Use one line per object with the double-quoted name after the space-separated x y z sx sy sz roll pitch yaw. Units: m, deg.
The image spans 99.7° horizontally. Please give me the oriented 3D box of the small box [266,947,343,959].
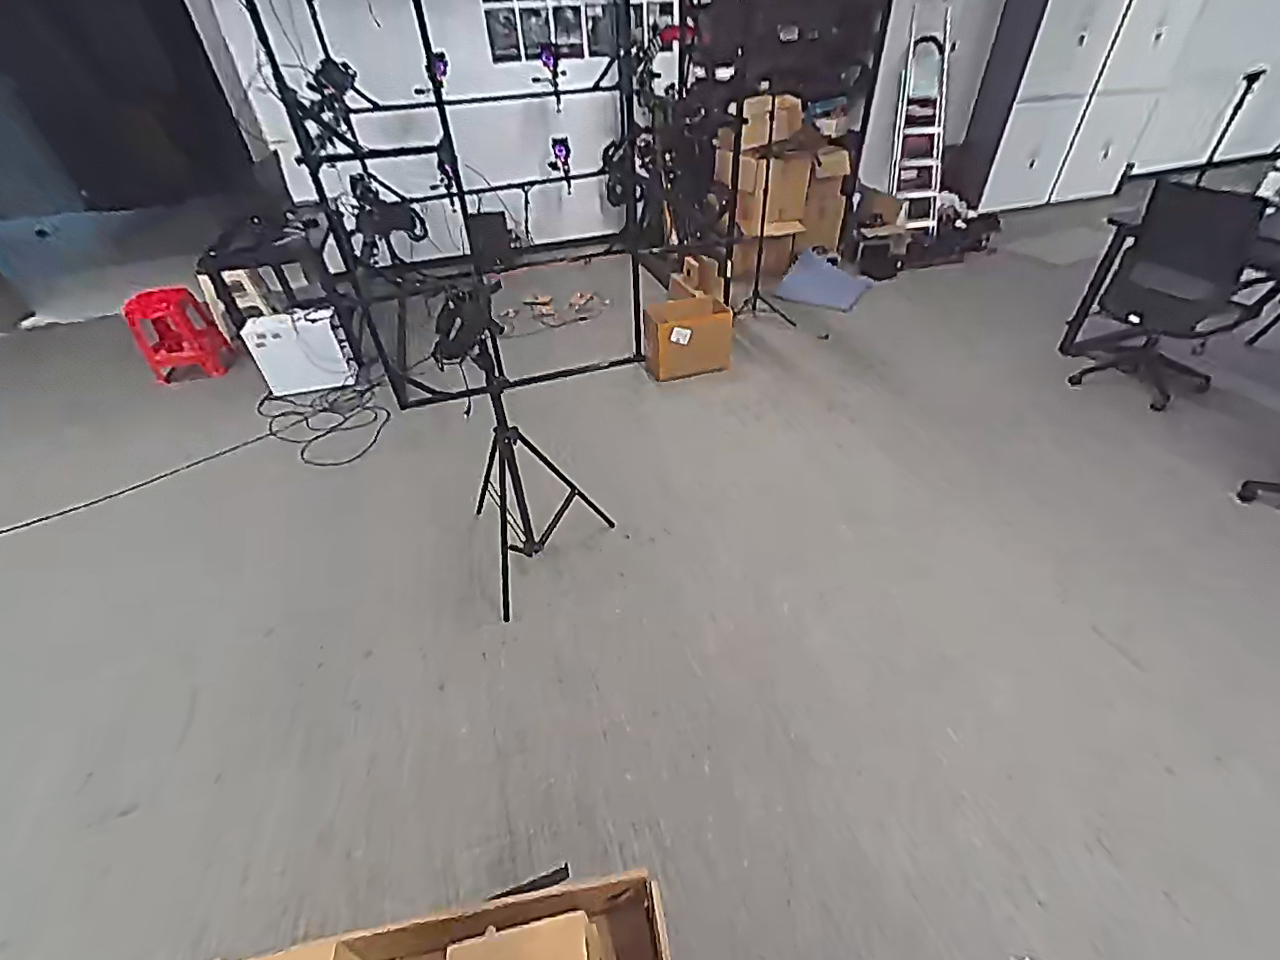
-0.377 0.596 0.531 0.179 0.176 0.168 -7 39 -7 "small box"
